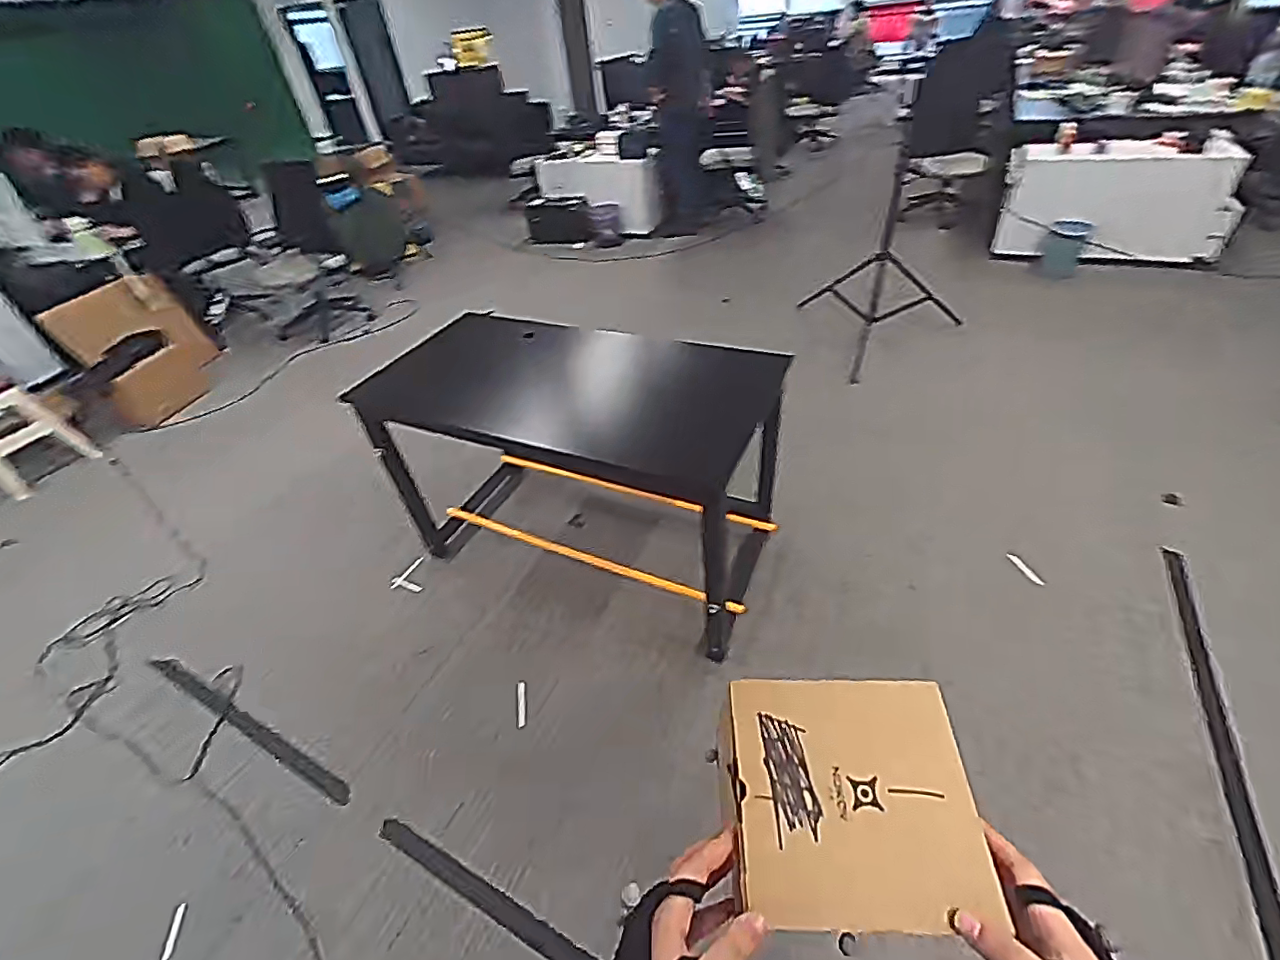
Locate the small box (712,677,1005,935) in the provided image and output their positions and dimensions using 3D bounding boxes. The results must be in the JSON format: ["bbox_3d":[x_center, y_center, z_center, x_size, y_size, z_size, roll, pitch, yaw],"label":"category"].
[{"bbox_3d":[0.154,0.279,0.461,0.179,0.176,0.168,-1,52,2],"label":"small box"}]
